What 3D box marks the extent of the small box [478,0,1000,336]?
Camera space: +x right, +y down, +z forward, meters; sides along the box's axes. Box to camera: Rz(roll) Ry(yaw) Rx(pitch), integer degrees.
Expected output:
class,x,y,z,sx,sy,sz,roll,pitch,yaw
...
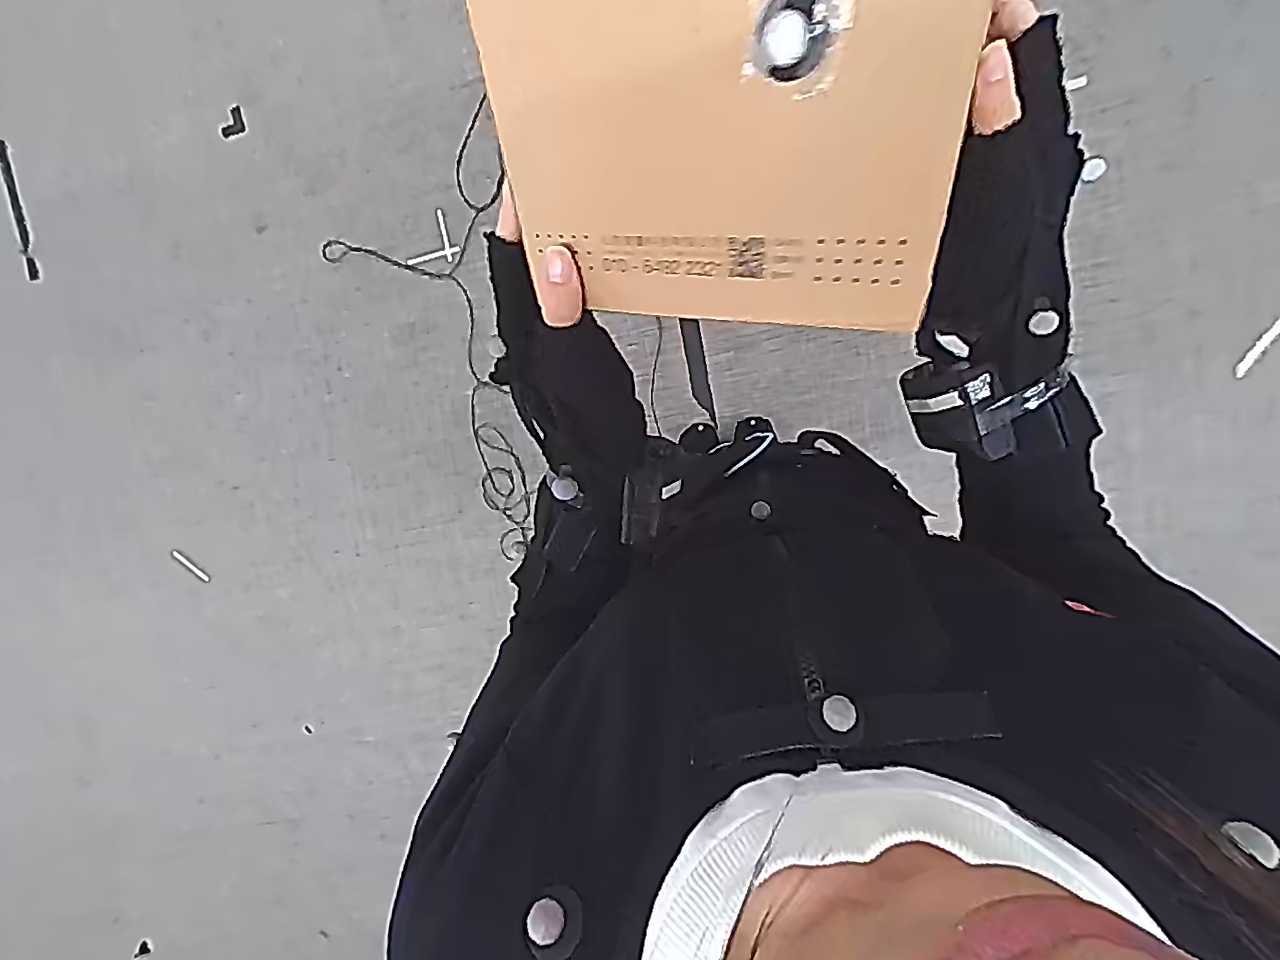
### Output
class,x,y,z,sx,sy,sz,roll,pitch,yaw
small box,0.054,-0.178,0.236,0.168,0.179,0.176,15,135,26
